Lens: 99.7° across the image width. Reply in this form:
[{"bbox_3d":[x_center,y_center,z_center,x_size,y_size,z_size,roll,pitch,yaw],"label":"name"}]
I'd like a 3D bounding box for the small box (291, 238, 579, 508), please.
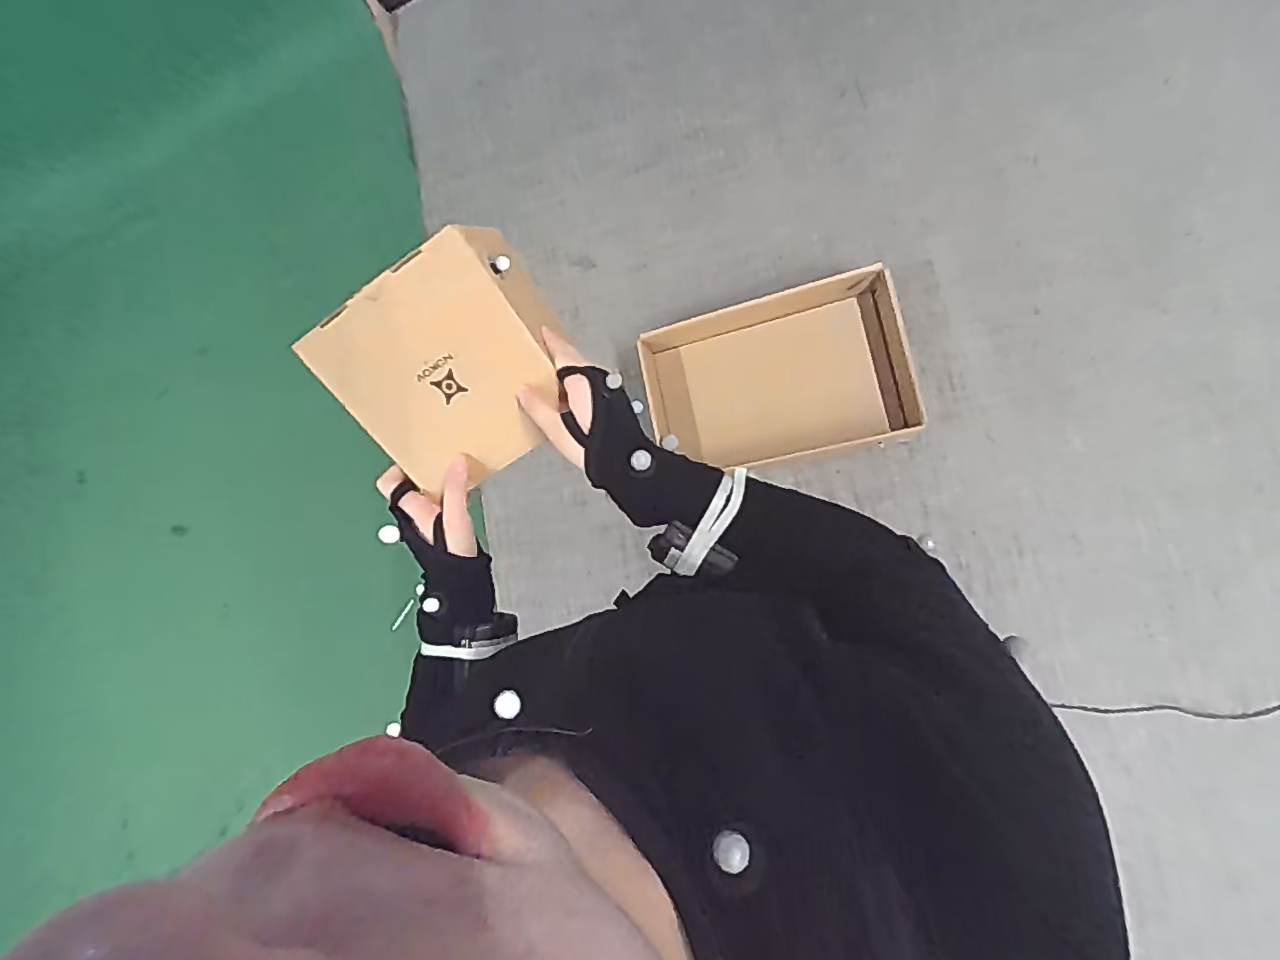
[{"bbox_3d":[-0.170,-0.111,0.520,0.168,0.176,0.179,-32,112,10],"label":"small box"}]
